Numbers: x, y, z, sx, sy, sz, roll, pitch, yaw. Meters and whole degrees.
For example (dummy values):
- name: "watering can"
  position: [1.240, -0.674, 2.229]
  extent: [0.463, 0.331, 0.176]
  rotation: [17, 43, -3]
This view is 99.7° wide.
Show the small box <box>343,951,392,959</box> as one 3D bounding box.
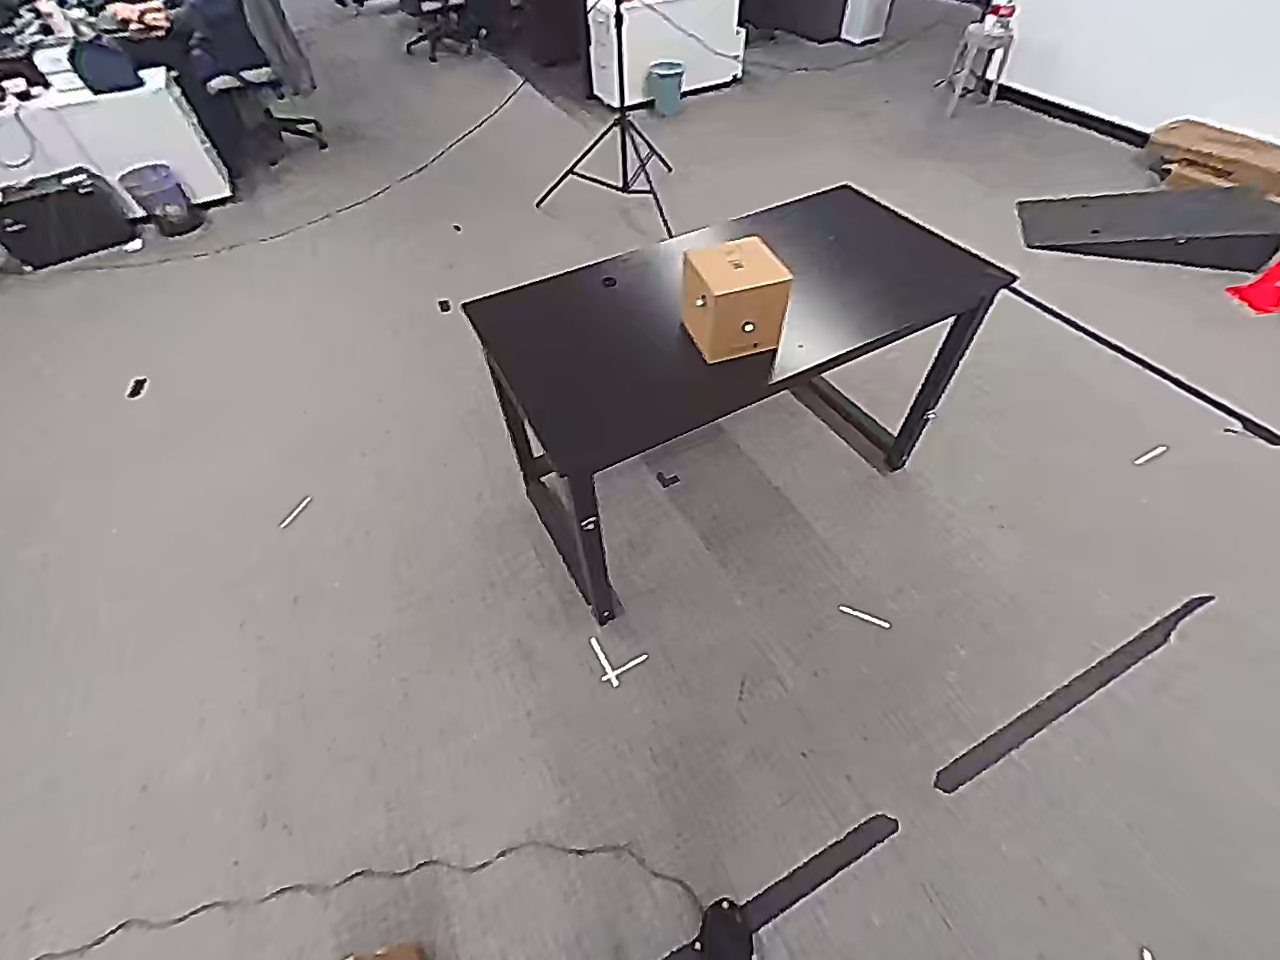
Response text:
- name: "small box"
  position: [-0.516, 0.913, 0.882]
  extent: [0.179, 0.176, 0.168]
  rotation: [-19, 55, -14]

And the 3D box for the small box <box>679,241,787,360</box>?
- name: "small box"
  position: [0.189, -0.374, 1.151]
  extent: [0.168, 0.176, 0.179]
  rotation: [-15, 52, -10]

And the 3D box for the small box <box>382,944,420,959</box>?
- name: "small box"
  position: [-0.507, 1.016, 1.010]
  extent: [0.168, 0.176, 0.179]
  rotation: [-23, 55, -16]
